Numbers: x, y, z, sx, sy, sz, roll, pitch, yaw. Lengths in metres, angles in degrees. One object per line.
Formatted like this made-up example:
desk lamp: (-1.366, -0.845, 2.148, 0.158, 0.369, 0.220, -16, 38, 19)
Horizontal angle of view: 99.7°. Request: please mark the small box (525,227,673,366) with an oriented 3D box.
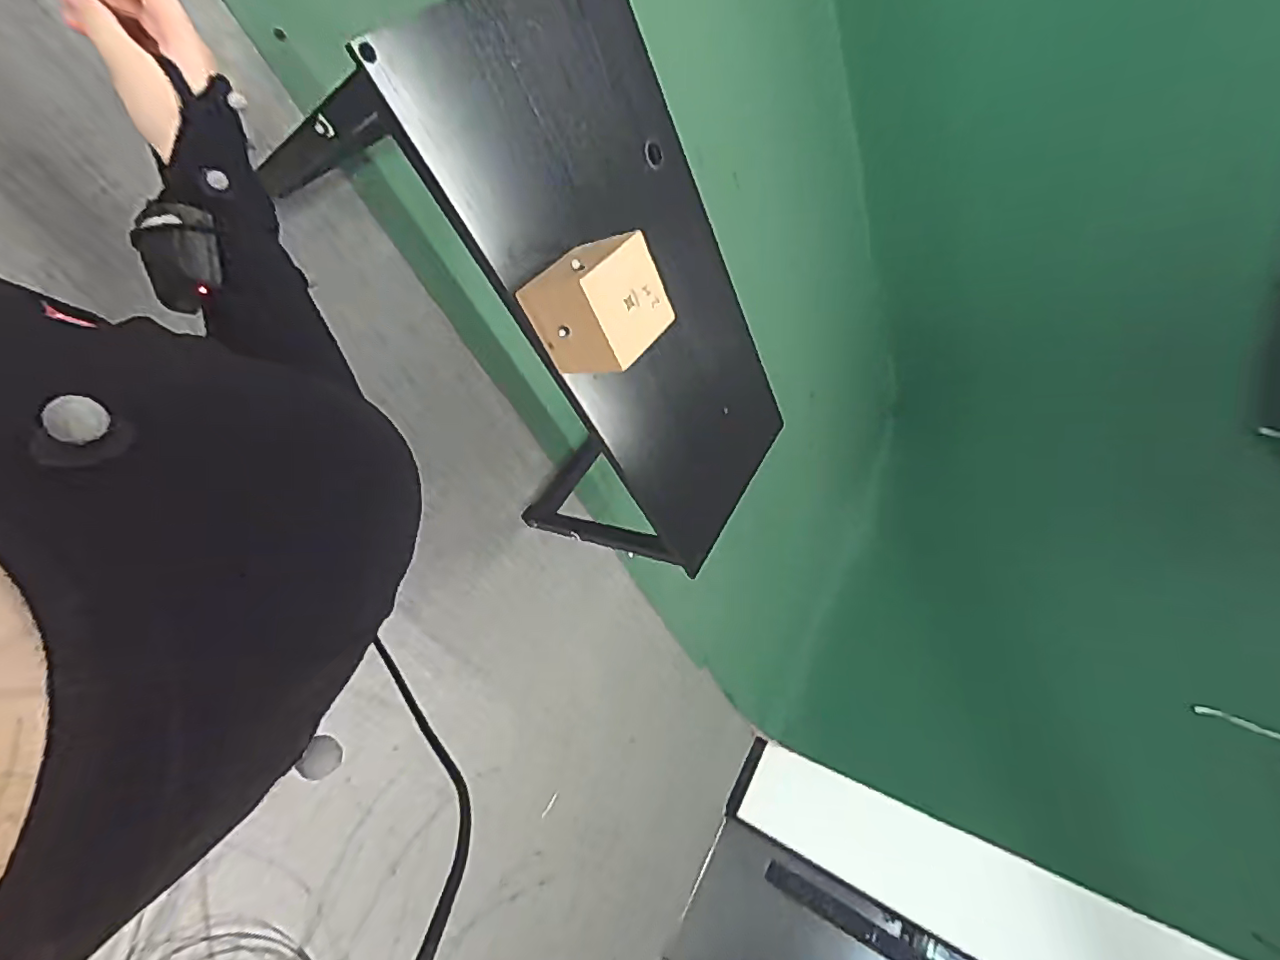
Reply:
small box: (-0.077, -0.313, 0.947, 0.179, 0.176, 0.168, -51, 132, -29)
